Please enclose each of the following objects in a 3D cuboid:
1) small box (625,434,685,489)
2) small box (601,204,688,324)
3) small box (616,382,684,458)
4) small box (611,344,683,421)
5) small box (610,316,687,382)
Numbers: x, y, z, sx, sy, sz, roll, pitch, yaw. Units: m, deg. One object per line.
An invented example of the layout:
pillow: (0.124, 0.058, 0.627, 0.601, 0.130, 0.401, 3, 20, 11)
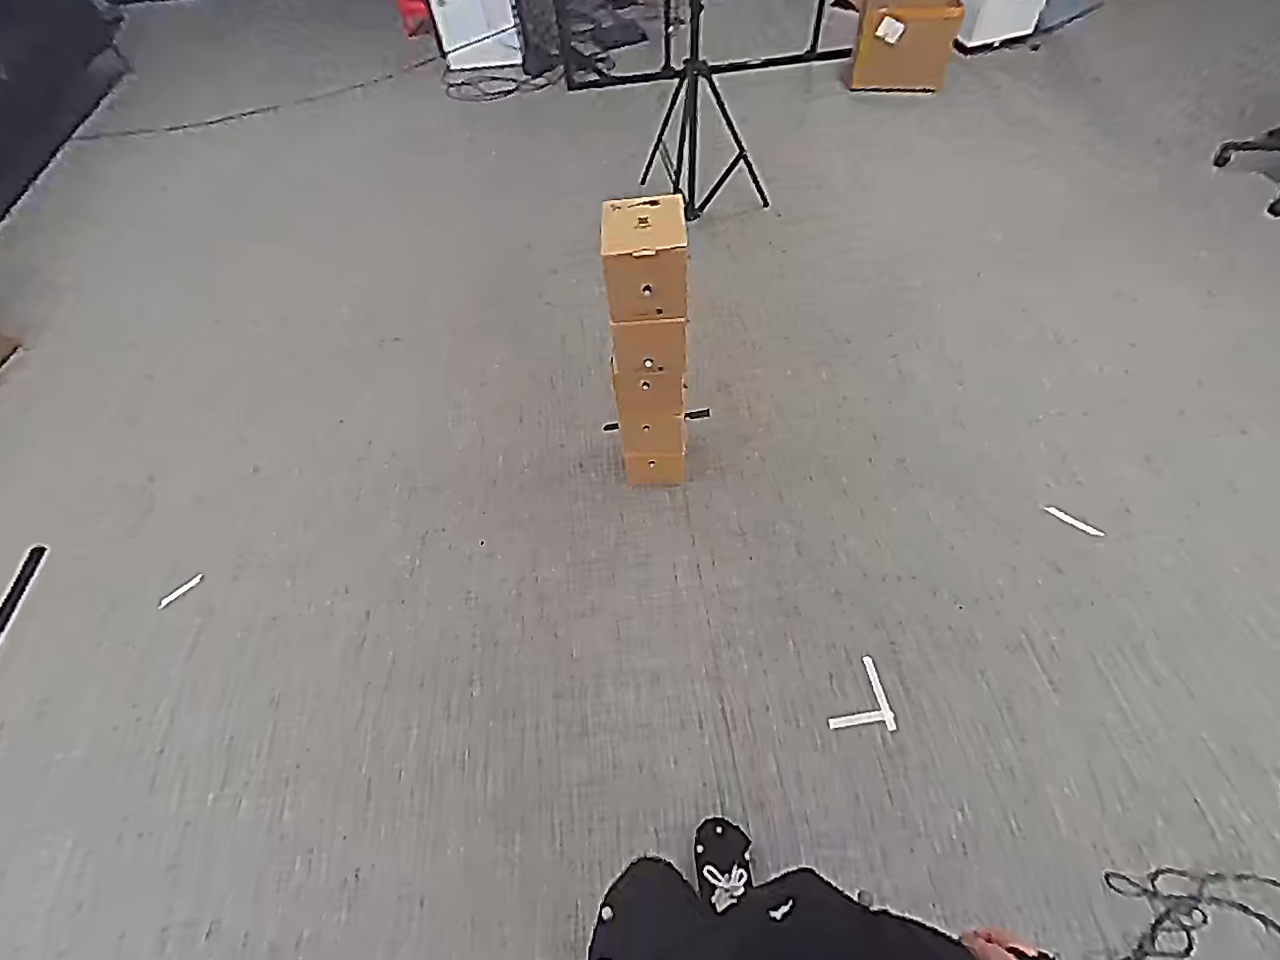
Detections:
small box: (0.048, -0.081, 1.677, 0.179, 0.176, 0.168, -1, 58, 4)
small box: (0.013, -0.444, 1.133, 0.168, 0.176, 0.179, -3, 60, 3)
small box: (0.035, -0.175, 1.542, 0.179, 0.176, 0.168, 2, 59, 6)
small box: (0.023, -0.266, 1.410, 0.179, 0.176, 0.168, -1, 59, 4)
small box: (0.025, -0.350, 1.268, 0.168, 0.176, 0.179, -2, 60, 5)
